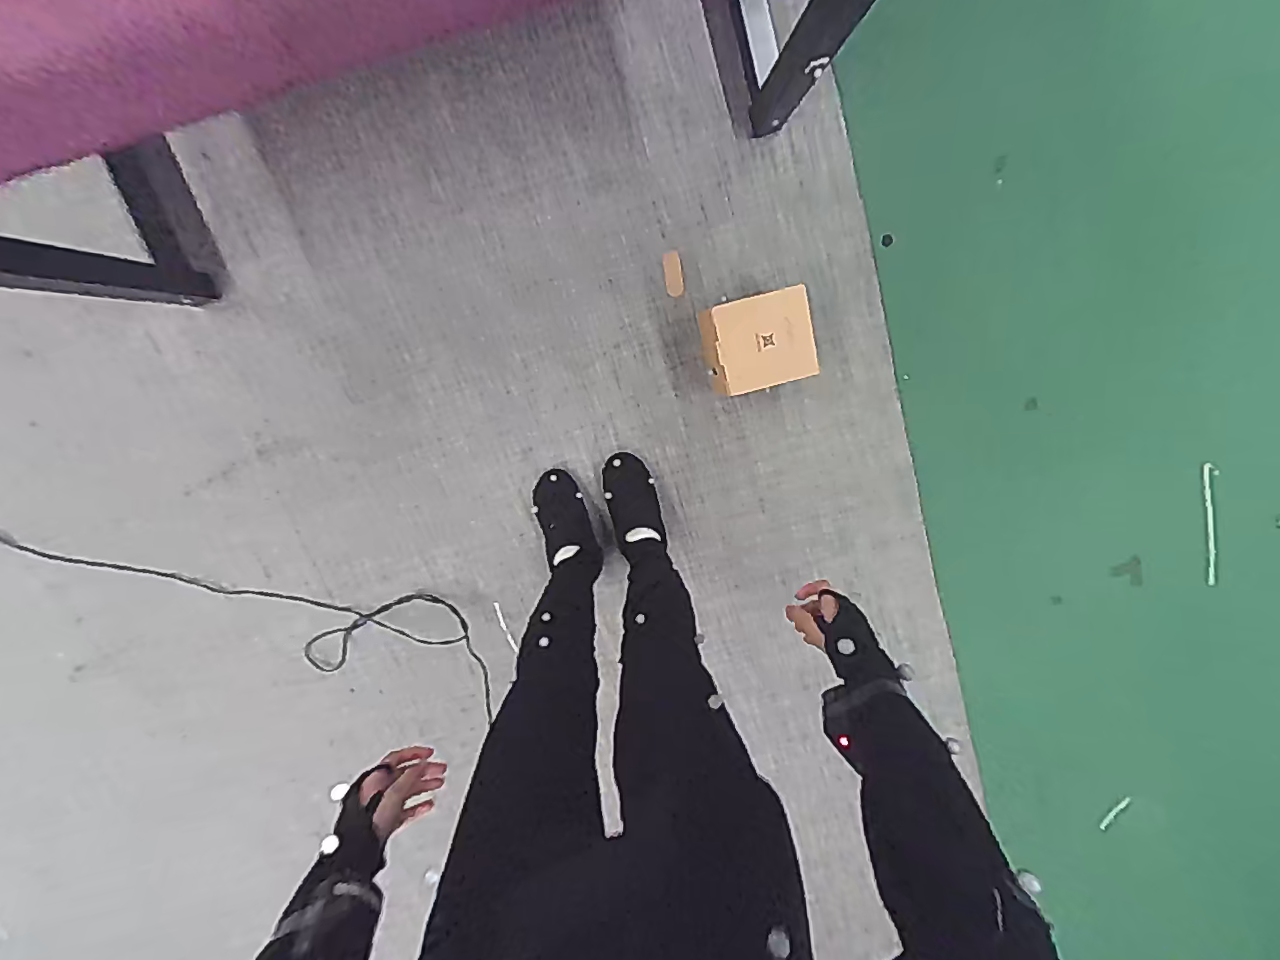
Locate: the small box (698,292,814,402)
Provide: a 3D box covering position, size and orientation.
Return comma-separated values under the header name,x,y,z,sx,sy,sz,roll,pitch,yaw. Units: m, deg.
name,x,y,z,sx,sy,sz,roll,pitch,yaw
small box,0.216,-0.256,1.055,0.179,0.176,0.168,-14,104,-1
